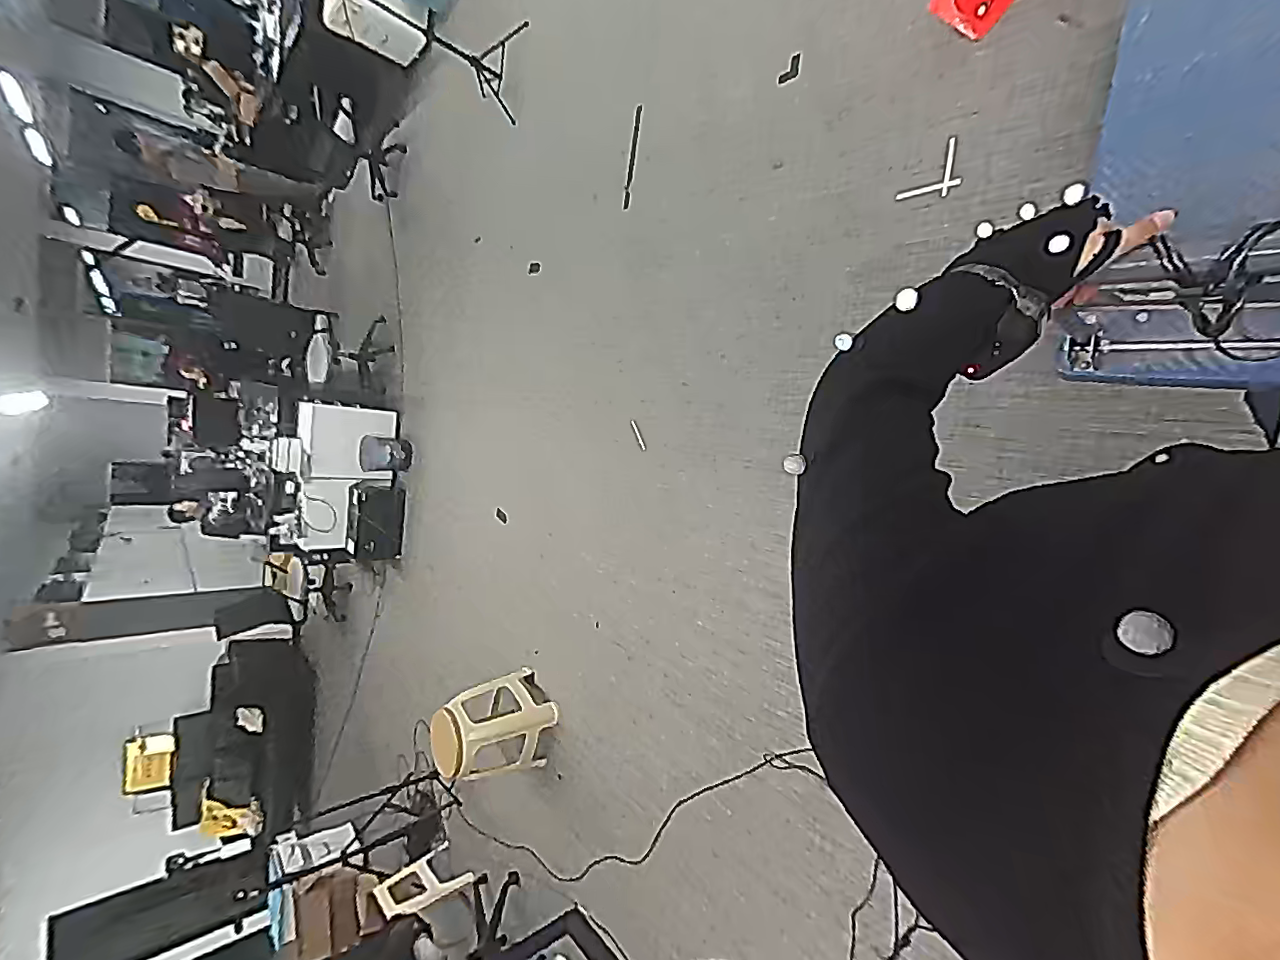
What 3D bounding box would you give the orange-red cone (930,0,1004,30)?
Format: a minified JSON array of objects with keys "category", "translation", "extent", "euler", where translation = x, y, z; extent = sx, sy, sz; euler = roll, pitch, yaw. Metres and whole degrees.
[{"category":"orange-red cone","translation":[0.677,-1.182,1.127],"extent":[0.199,0.360,0.198],"euler":[-46,58,35]}]
